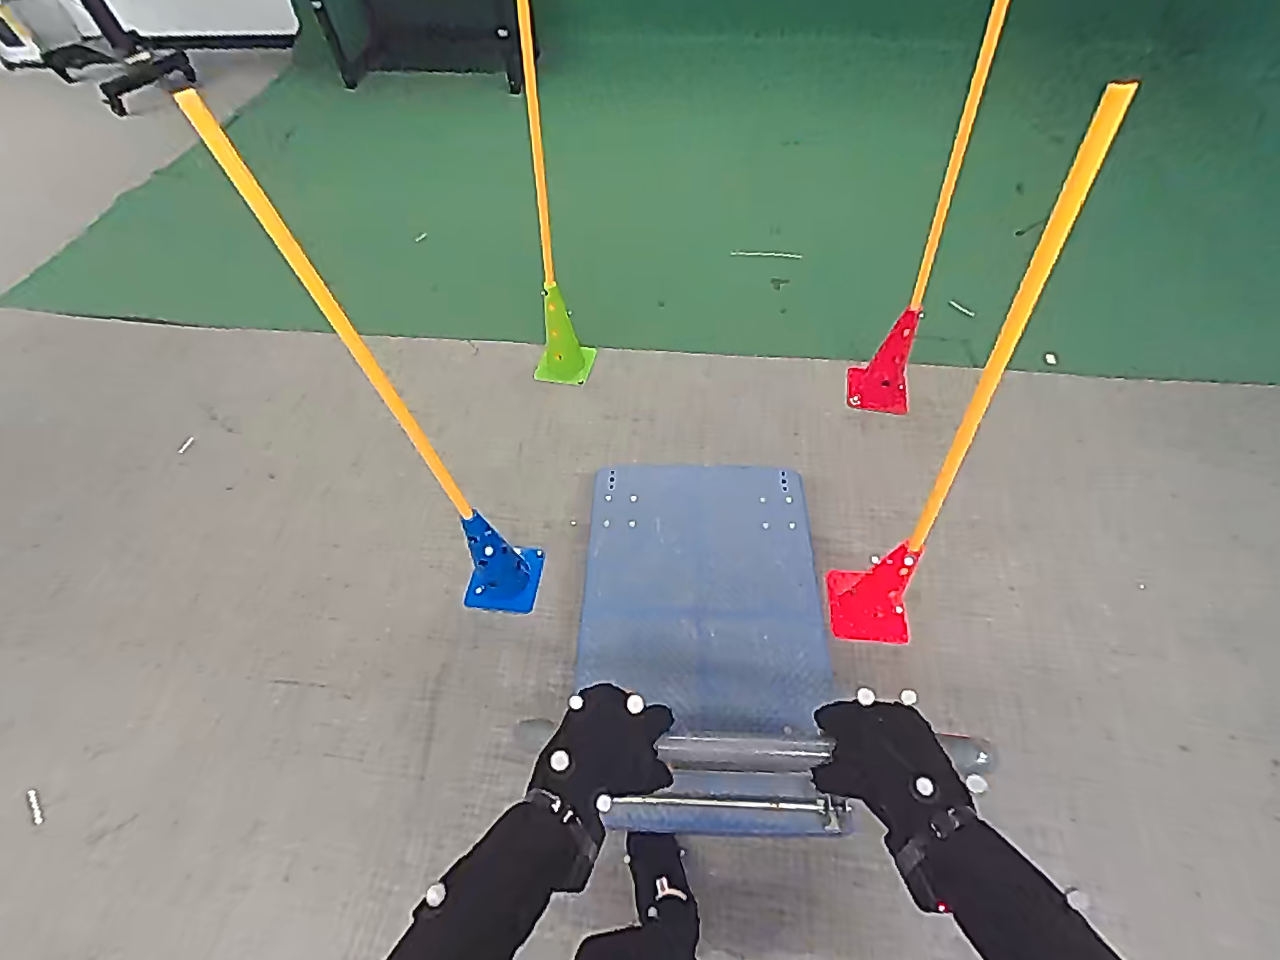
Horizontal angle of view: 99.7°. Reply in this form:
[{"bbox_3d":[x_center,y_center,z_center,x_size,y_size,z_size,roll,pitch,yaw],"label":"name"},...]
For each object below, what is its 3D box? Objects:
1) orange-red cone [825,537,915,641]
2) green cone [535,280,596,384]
[{"bbox_3d":[0.603,0.243,1.346,0.199,0.360,0.198,3,55,7],"label":"orange-red cone"},{"bbox_3d":[-0.291,-0.542,1.916,0.202,0.368,0.200,8,56,9],"label":"green cone"}]
